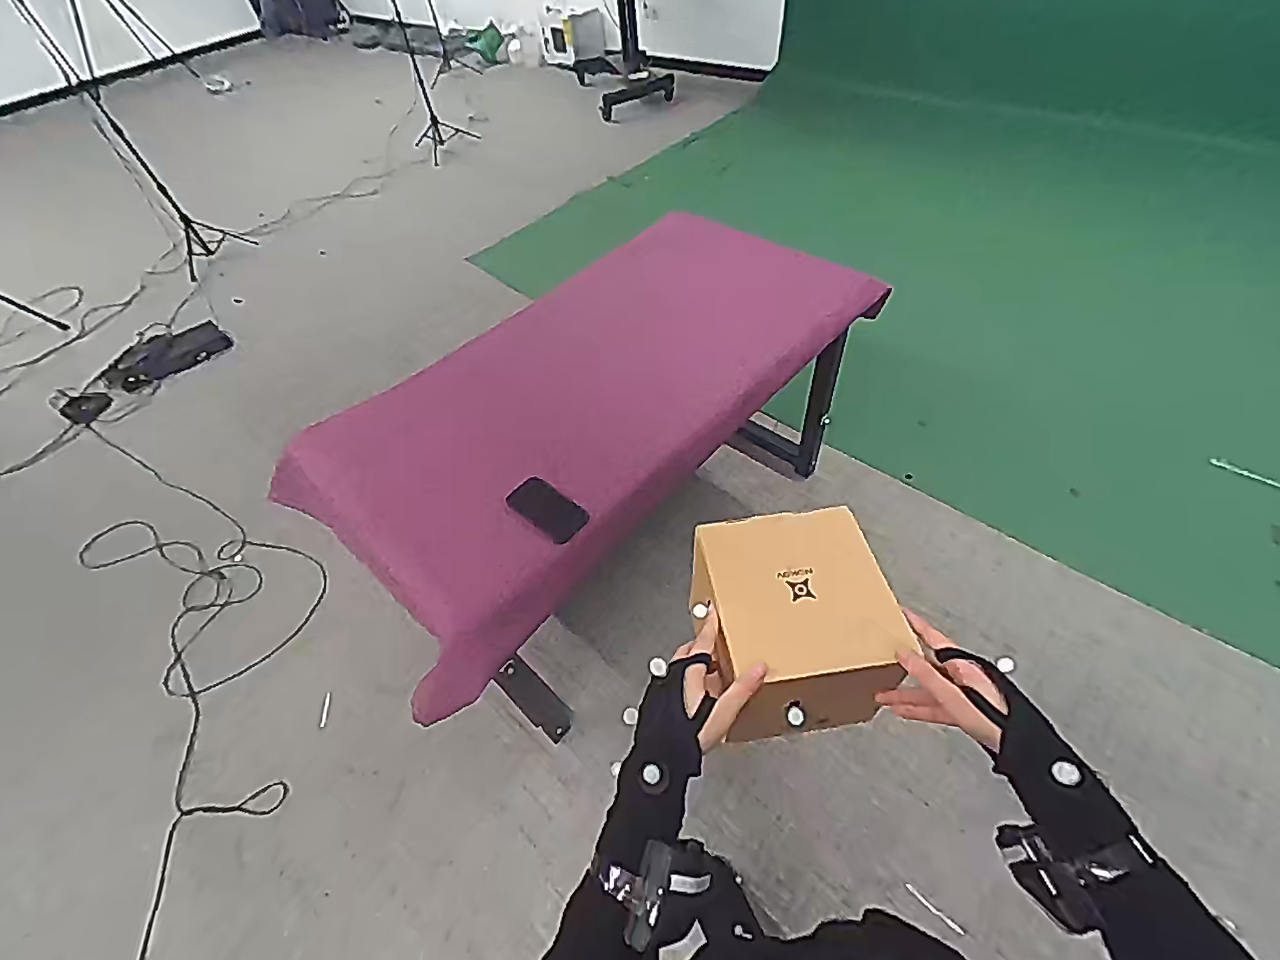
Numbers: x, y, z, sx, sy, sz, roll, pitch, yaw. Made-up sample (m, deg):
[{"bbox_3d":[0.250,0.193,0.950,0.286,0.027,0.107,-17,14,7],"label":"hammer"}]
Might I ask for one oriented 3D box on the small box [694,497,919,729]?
[{"bbox_3d":[0.154,0.145,0.570,0.168,0.176,0.179,-8,47,-3],"label":"small box"}]
